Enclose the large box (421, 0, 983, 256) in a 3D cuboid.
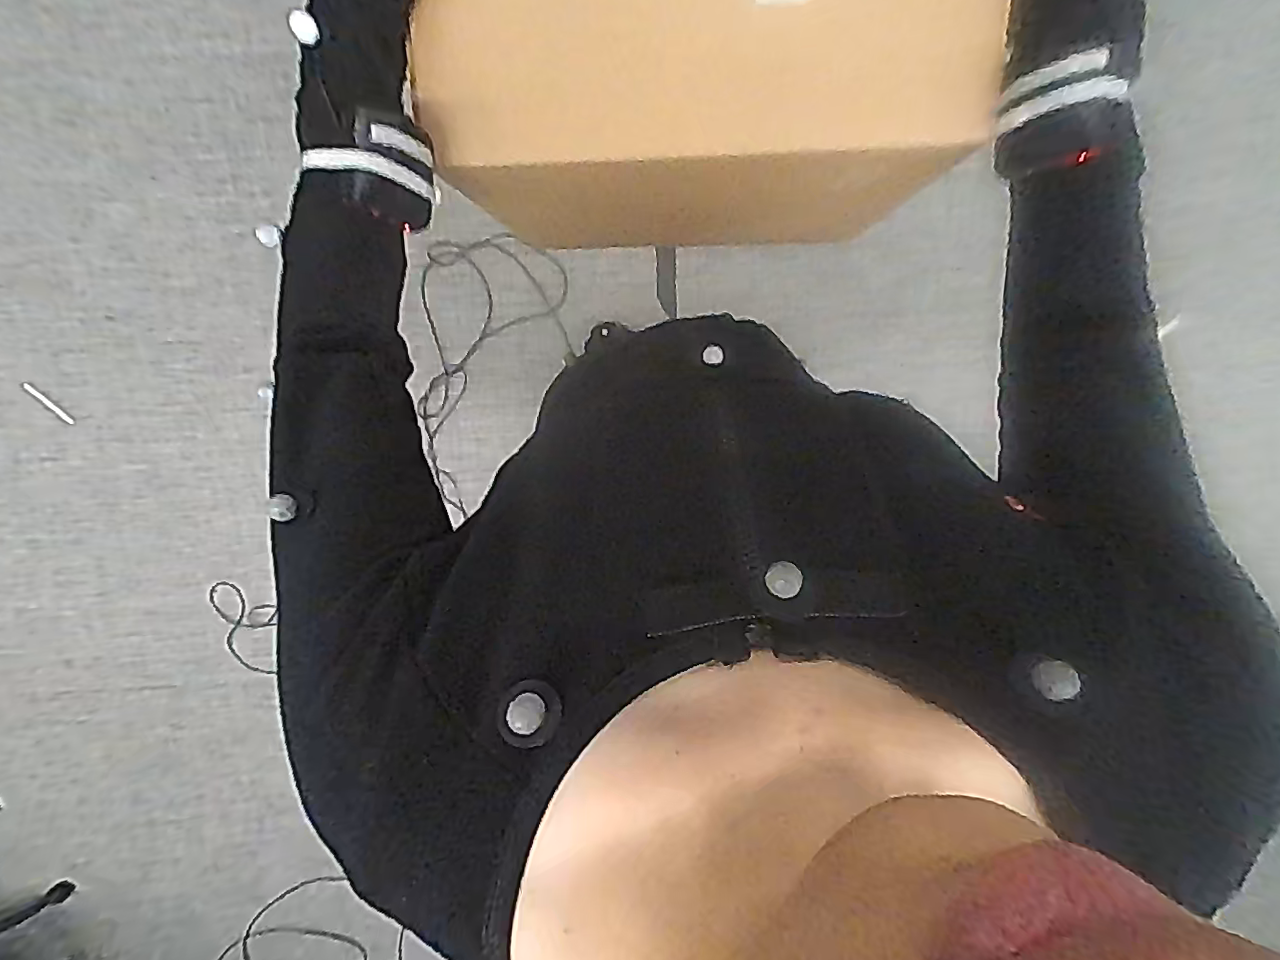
[{"bbox_3d":[0.045,-0.416,0.518,0.408,0.320,0.320,0,102,4],"label":"large box"}]
